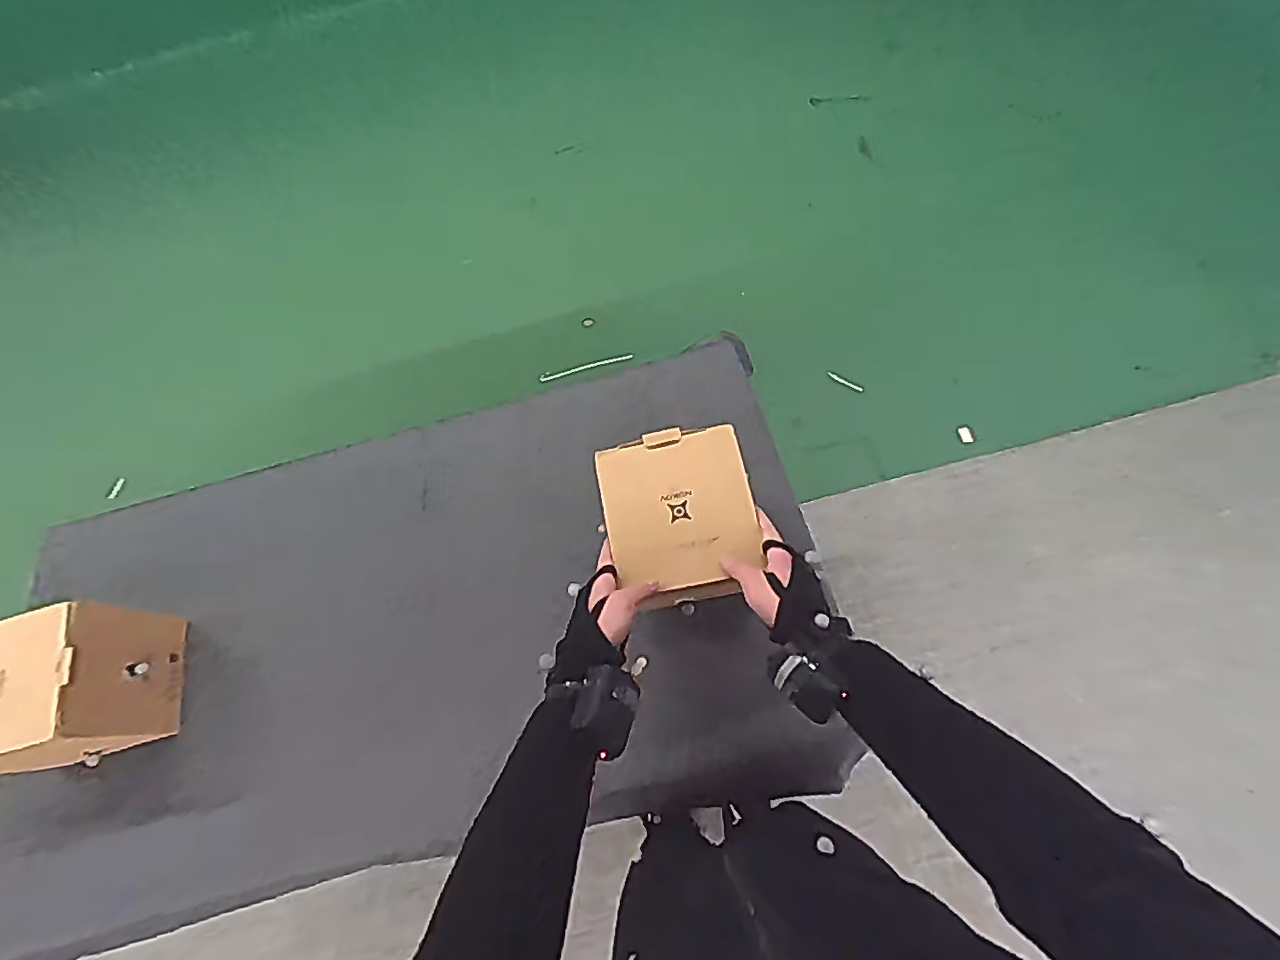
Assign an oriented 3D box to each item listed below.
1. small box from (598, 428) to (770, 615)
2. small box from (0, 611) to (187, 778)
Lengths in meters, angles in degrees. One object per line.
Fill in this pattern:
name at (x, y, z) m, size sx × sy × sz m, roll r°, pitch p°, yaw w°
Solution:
small box at (0.050, 0.060, 0.657) m, size 0.168 × 0.176 × 0.179 m, roll -10°, pitch 71°, yaw 4°
small box at (-0.757, 0.286, 0.722) m, size 0.179 × 0.176 × 0.168 m, roll -16°, pitch 67°, yaw -2°
